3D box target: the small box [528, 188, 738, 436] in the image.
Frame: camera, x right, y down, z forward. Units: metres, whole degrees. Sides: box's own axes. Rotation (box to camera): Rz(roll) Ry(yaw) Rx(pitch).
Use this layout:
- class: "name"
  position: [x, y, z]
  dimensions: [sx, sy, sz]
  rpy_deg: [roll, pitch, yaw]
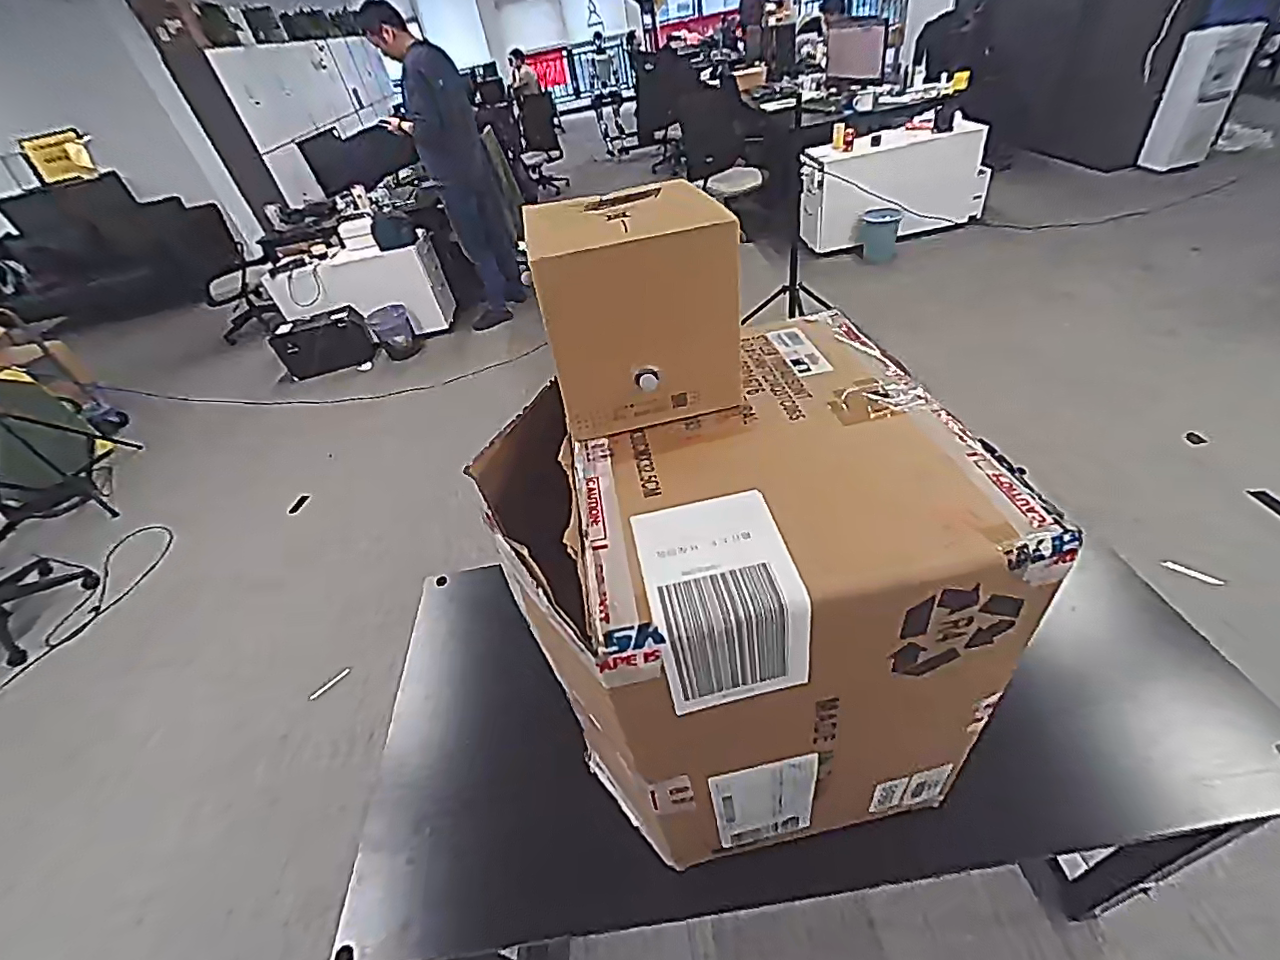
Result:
- class: "small box"
  position: [-0.009, -0.167, 0.529]
  dimensions: [0.168, 0.176, 0.179]
  rpy_deg: [-13, 39, -3]
